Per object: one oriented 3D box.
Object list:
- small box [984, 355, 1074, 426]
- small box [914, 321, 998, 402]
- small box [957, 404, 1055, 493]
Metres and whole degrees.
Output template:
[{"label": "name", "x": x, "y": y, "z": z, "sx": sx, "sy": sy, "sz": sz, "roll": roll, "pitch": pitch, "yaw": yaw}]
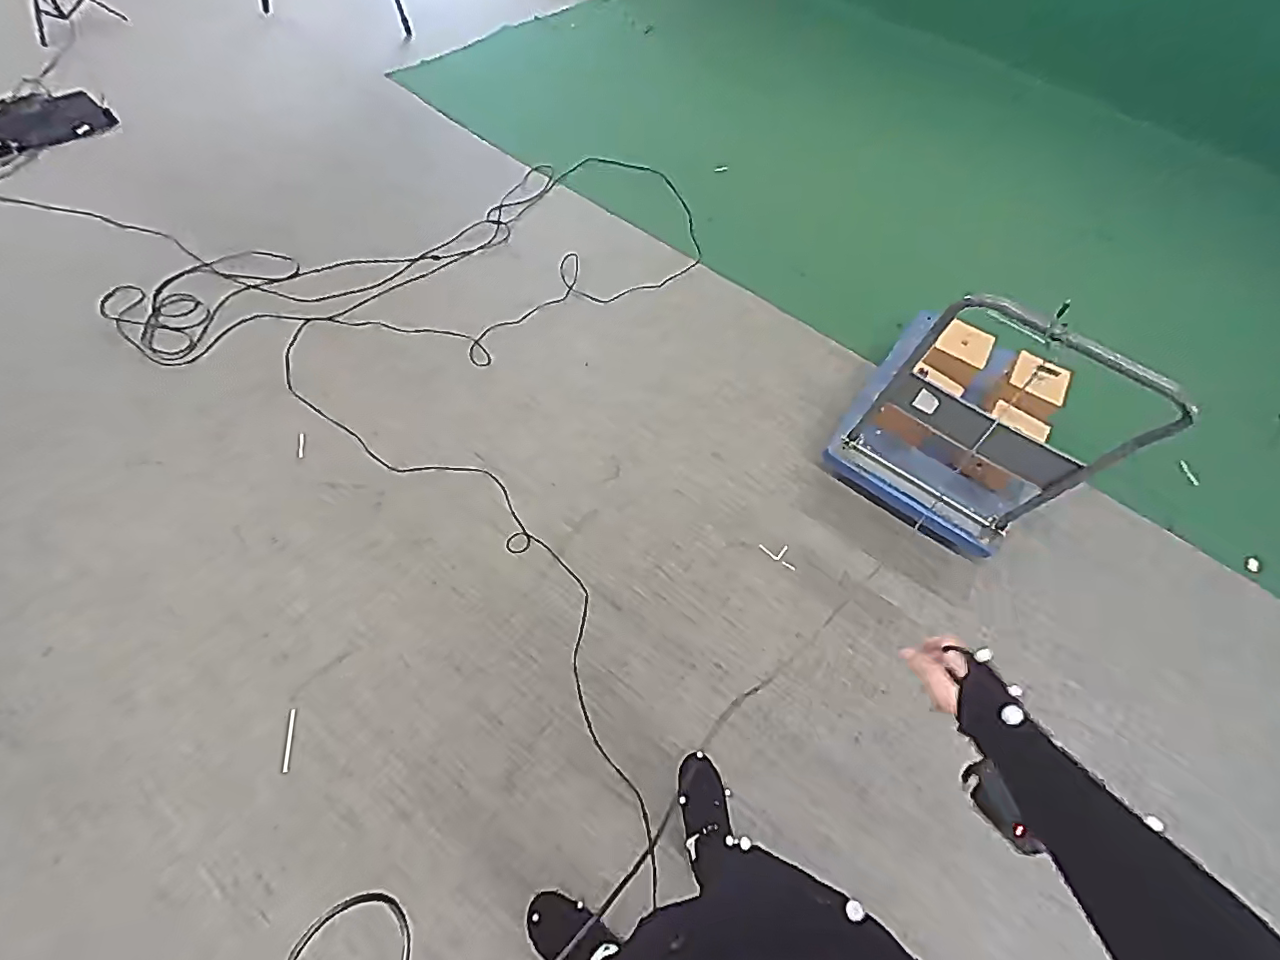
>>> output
[{"label": "small box", "x": 1.283, "y": -0.274, "z": 1.791, "sx": 0.168, "sy": 0.176, "sz": 0.179, "roll": 31, "pitch": 63, "yaw": 13}, {"label": "small box", "x": 1.071, "y": -0.399, "z": 1.845, "sx": 0.168, "sy": 0.176, "sz": 0.179, "roll": 31, "pitch": 62, "yaw": 12}, {"label": "small box", "x": 1.122, "y": -0.094, "z": 1.670, "sx": 0.168, "sy": 0.176, "sz": 0.179, "roll": 35, "pitch": 63, "yaw": 15}]
